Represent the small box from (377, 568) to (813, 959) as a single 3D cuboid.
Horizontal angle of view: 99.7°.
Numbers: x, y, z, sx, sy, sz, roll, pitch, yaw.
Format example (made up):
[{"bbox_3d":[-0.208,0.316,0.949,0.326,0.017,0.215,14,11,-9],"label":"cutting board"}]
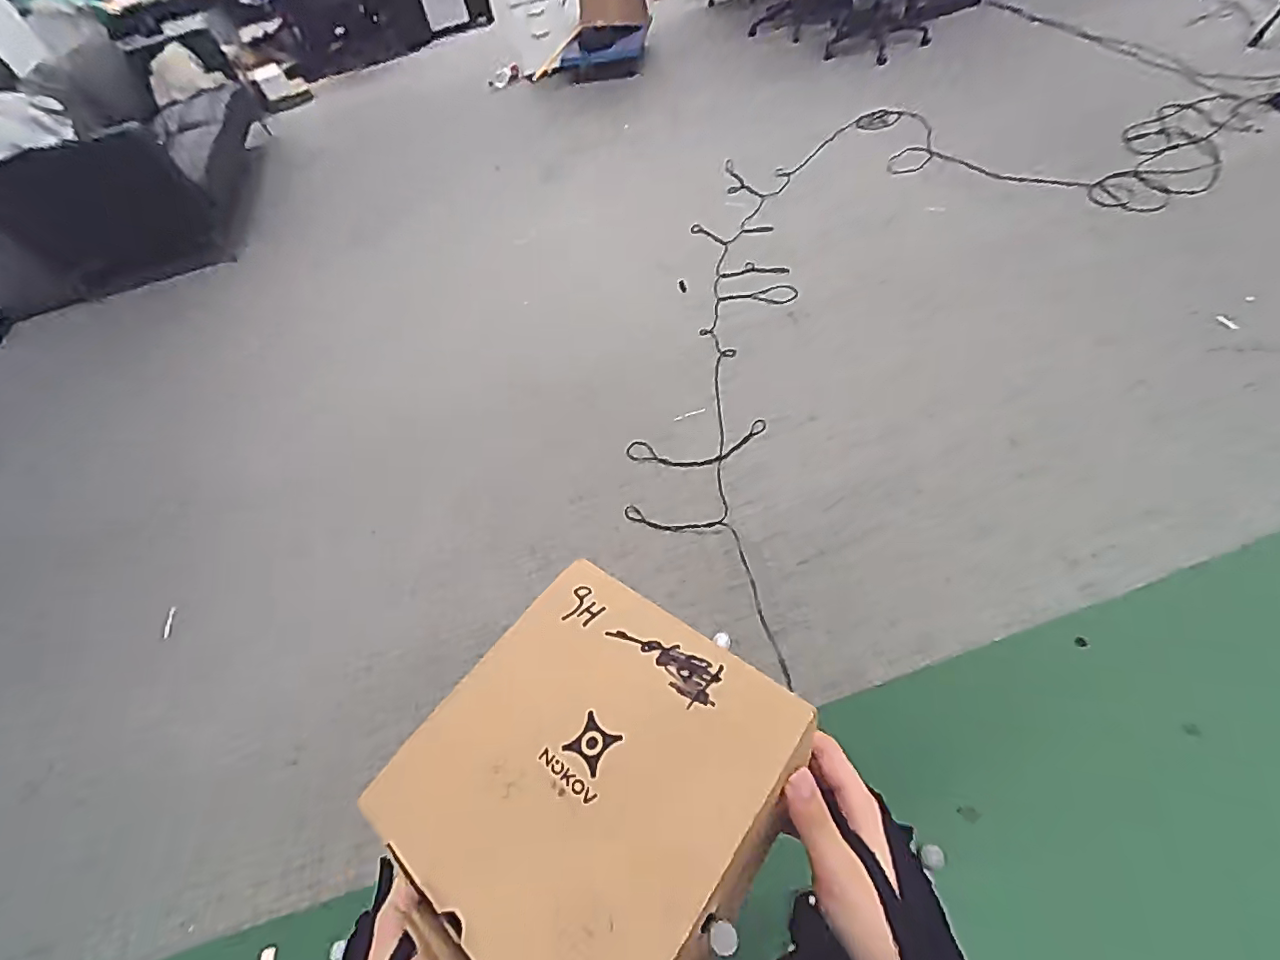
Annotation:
[{"bbox_3d":[-0.009,0.195,0.333,0.168,0.176,0.179,27,62,31],"label":"small box"}]
